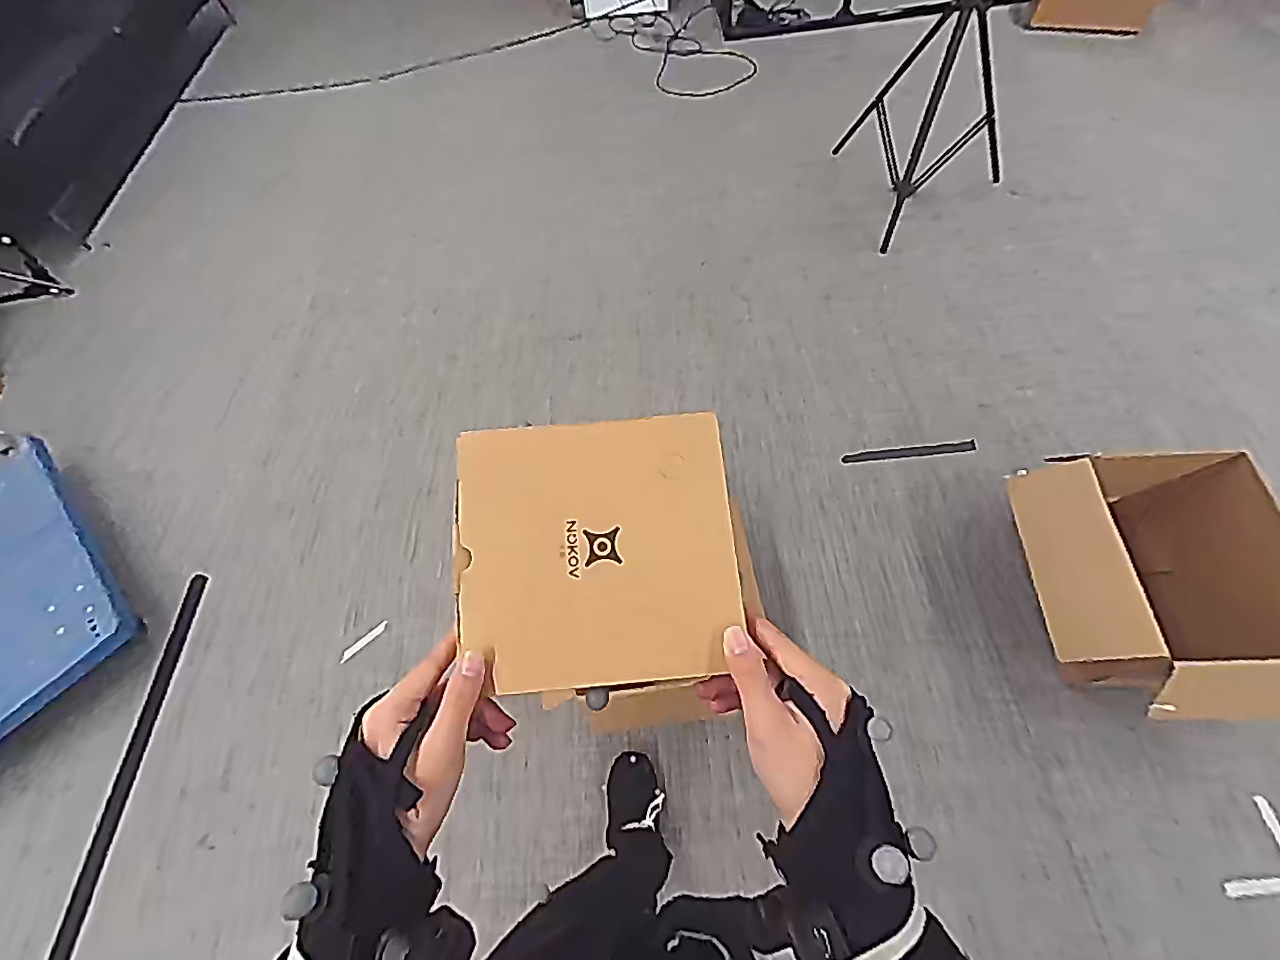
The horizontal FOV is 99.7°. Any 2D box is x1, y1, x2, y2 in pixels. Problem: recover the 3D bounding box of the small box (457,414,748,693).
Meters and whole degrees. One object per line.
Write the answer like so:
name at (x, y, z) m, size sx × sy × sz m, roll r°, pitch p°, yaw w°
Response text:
small box at (-0.027, 0.060, 0.416) m, size 0.179 × 0.176 × 0.168 m, roll -5°, pitch 75°, yaw 0°
